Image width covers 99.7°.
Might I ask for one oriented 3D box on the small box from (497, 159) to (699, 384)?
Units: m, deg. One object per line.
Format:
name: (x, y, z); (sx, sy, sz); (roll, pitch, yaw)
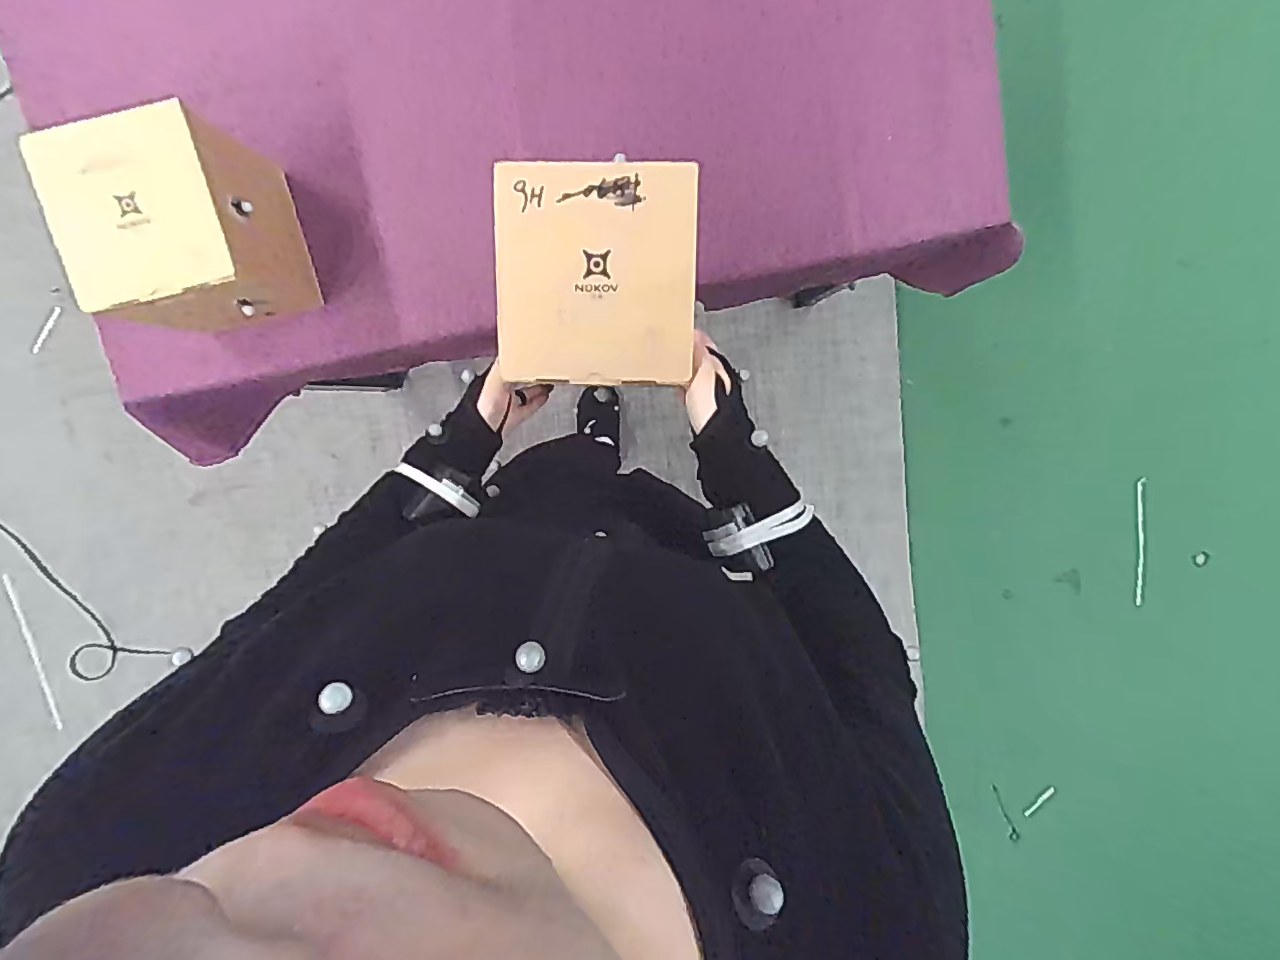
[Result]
small box: (-0.035, -0.185, 0.526); (0.168, 0.176, 0.179); (1, 100, 0)

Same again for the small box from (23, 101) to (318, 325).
small box: (-0.509, -0.283, 0.620); (0.168, 0.176, 0.179); (-12, 98, 0)
